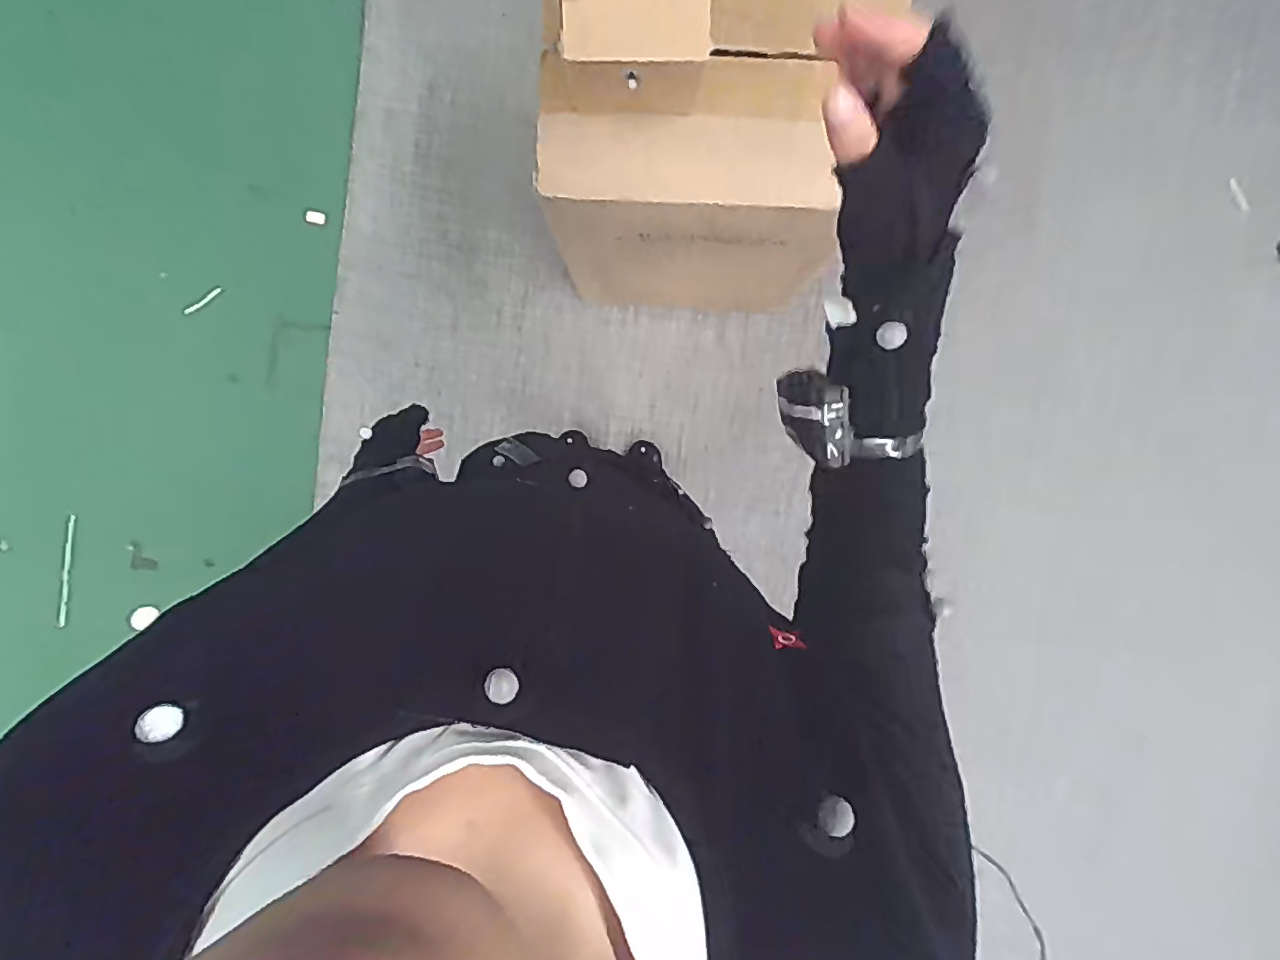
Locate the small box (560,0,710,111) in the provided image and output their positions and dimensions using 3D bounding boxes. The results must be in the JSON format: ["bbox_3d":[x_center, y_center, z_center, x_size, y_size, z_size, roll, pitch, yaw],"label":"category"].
[{"bbox_3d":[-0.005,-0.596,0.693,0.179,0.176,0.168,0,106,0],"label":"small box"}]
